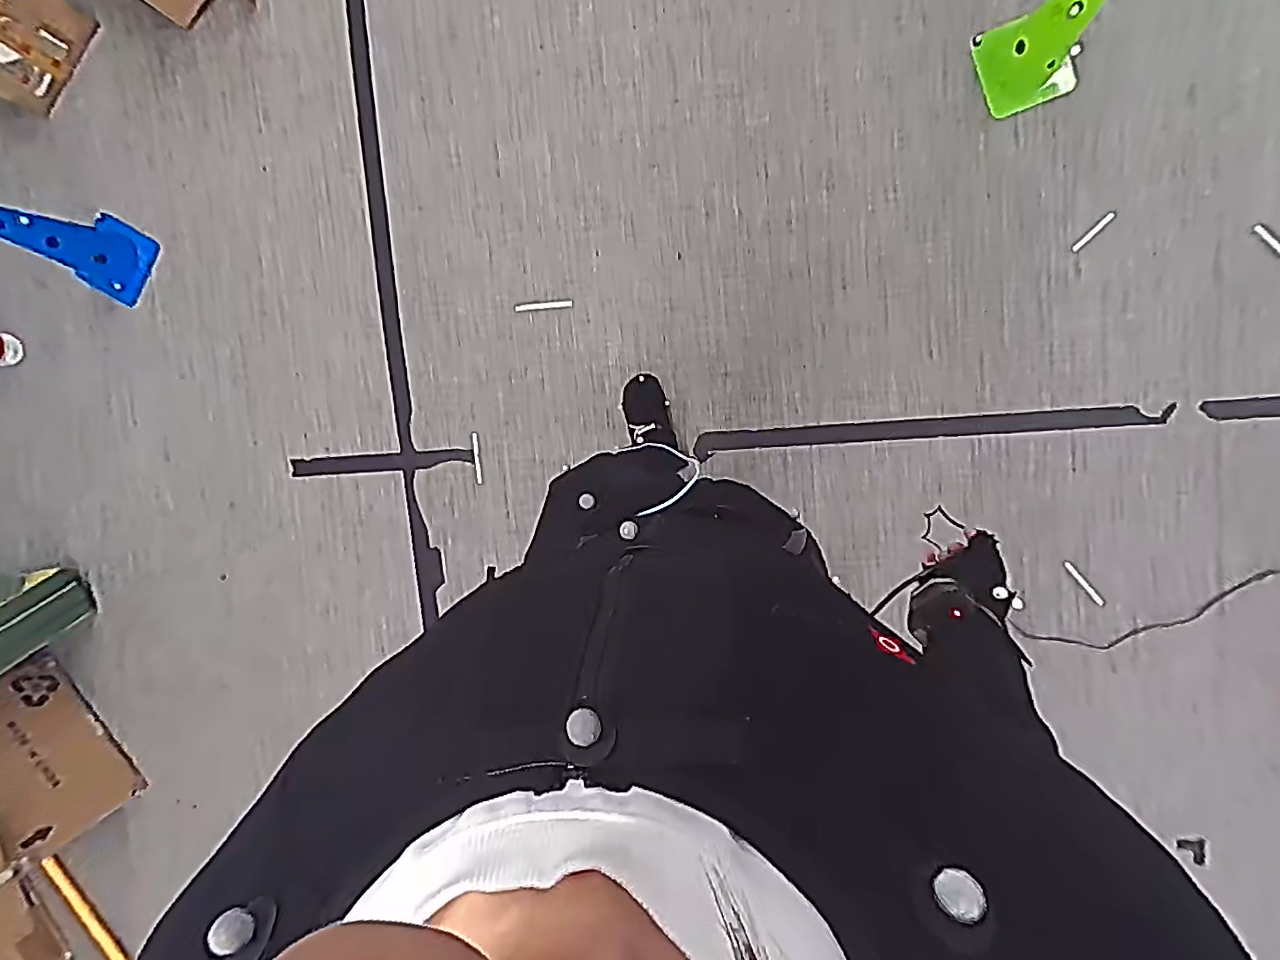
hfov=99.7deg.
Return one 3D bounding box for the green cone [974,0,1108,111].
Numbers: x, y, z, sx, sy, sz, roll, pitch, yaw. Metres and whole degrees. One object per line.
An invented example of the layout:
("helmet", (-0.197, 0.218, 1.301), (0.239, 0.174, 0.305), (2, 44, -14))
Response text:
("green cone", (0.896, -0.977, 1.098), (0.202, 0.368, 0.200), (-20, 93, 5))
